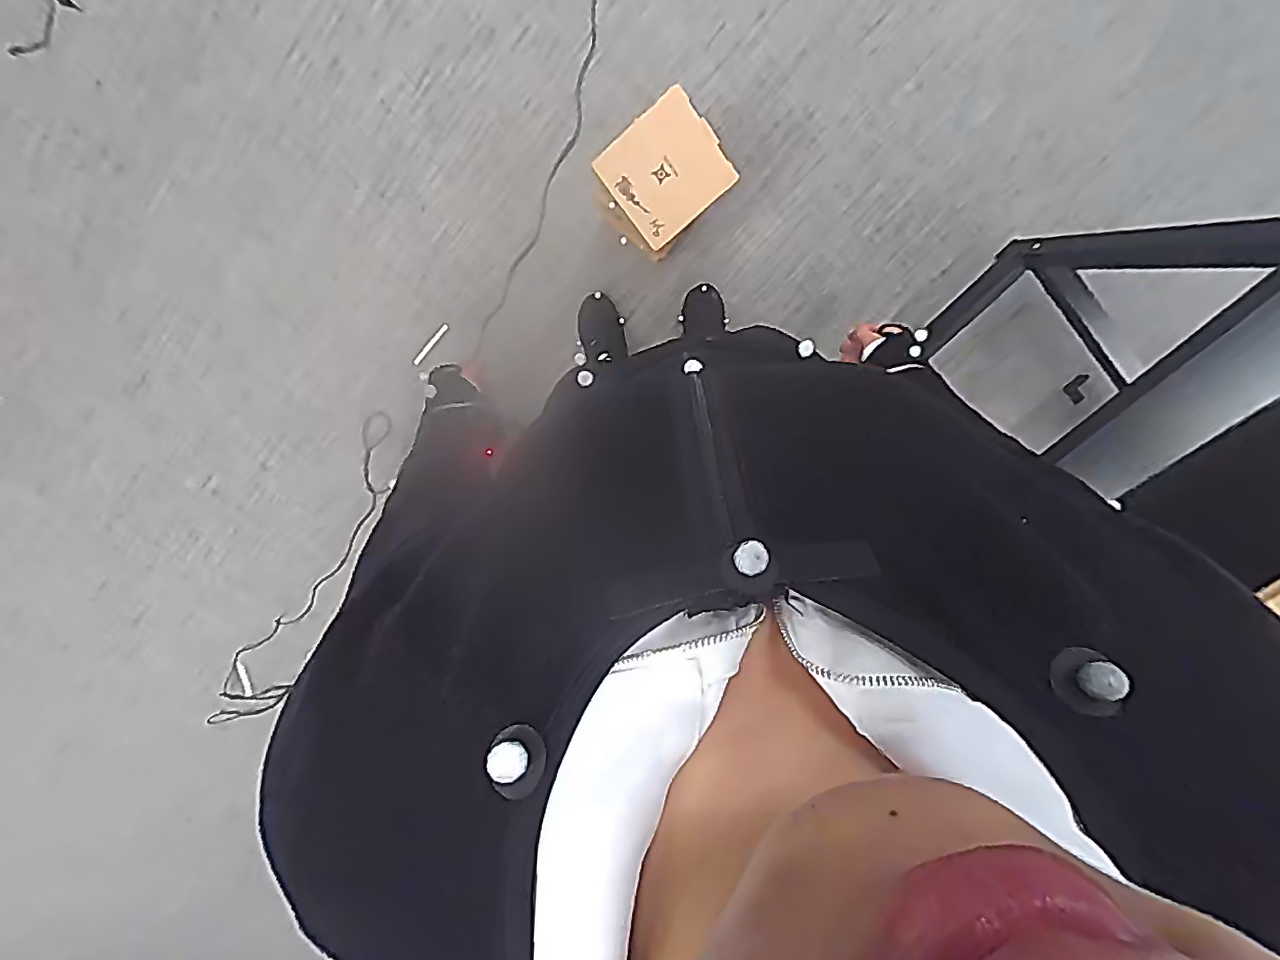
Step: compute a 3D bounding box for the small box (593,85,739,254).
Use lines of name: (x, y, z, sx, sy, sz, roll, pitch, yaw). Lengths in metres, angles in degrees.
small box: (0.037, -0.510, 0.919, 0.179, 0.176, 0.168, -38, 107, 11)

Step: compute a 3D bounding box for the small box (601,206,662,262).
small box: (0.027, -0.620, 1.226, 0.168, 0.176, 0.179, 38, 106, -13)
